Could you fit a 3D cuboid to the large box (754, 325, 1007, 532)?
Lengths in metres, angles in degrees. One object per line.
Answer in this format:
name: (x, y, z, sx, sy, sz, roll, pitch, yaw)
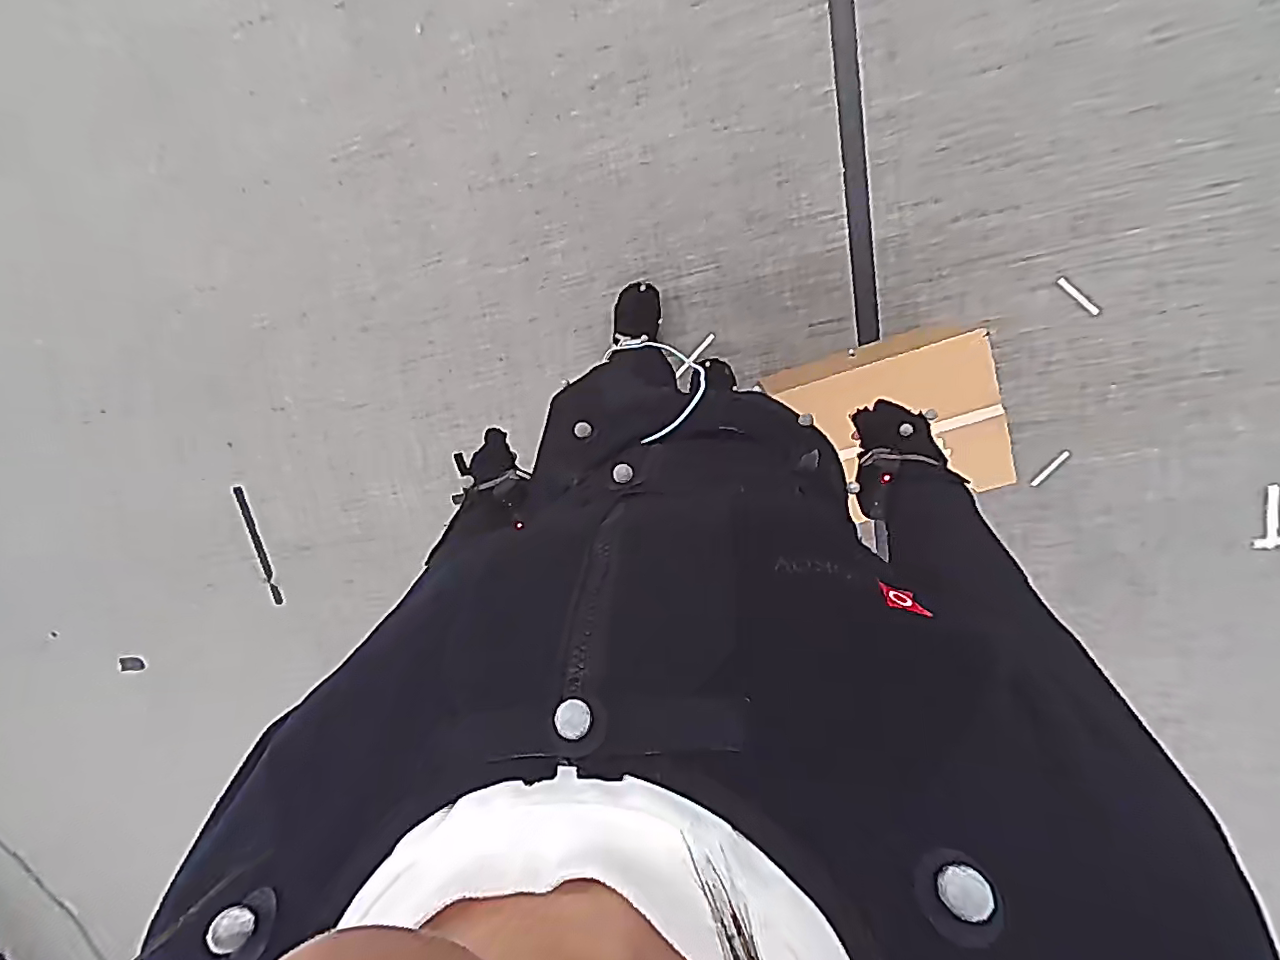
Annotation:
large box: (0.500, -0.126, 1.202, 0.408, 0.320, 0.320, -17, 104, 11)
